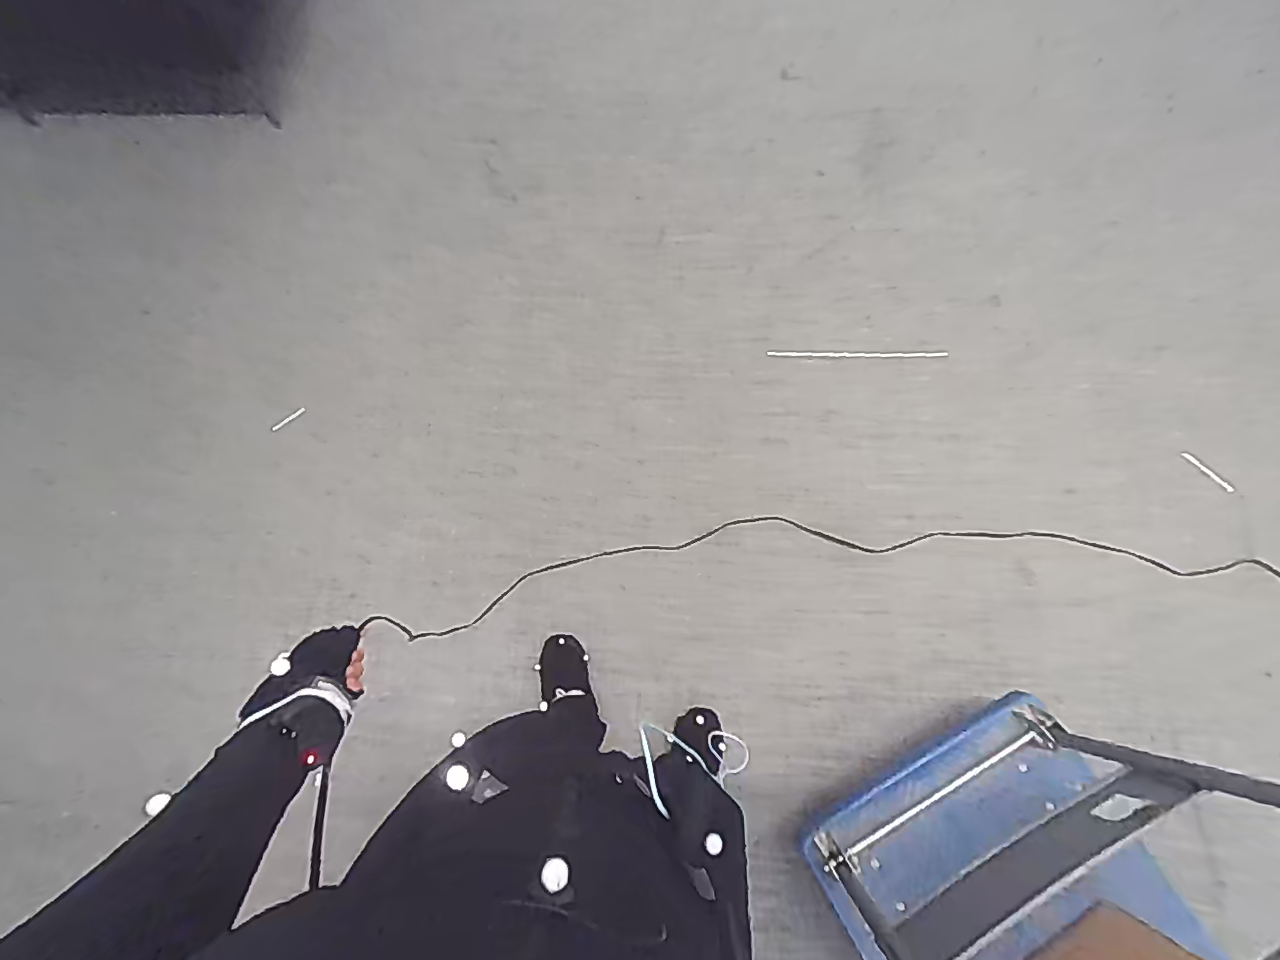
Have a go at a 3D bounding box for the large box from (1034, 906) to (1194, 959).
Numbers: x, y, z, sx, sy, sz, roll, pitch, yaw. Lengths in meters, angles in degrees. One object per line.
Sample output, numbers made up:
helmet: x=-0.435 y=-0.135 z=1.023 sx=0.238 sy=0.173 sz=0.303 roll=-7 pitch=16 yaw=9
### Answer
large box: x=0.773 y=0.976 z=0.807 sx=0.408 sy=0.320 sz=0.320 roll=-33 pitch=77 yaw=-7
